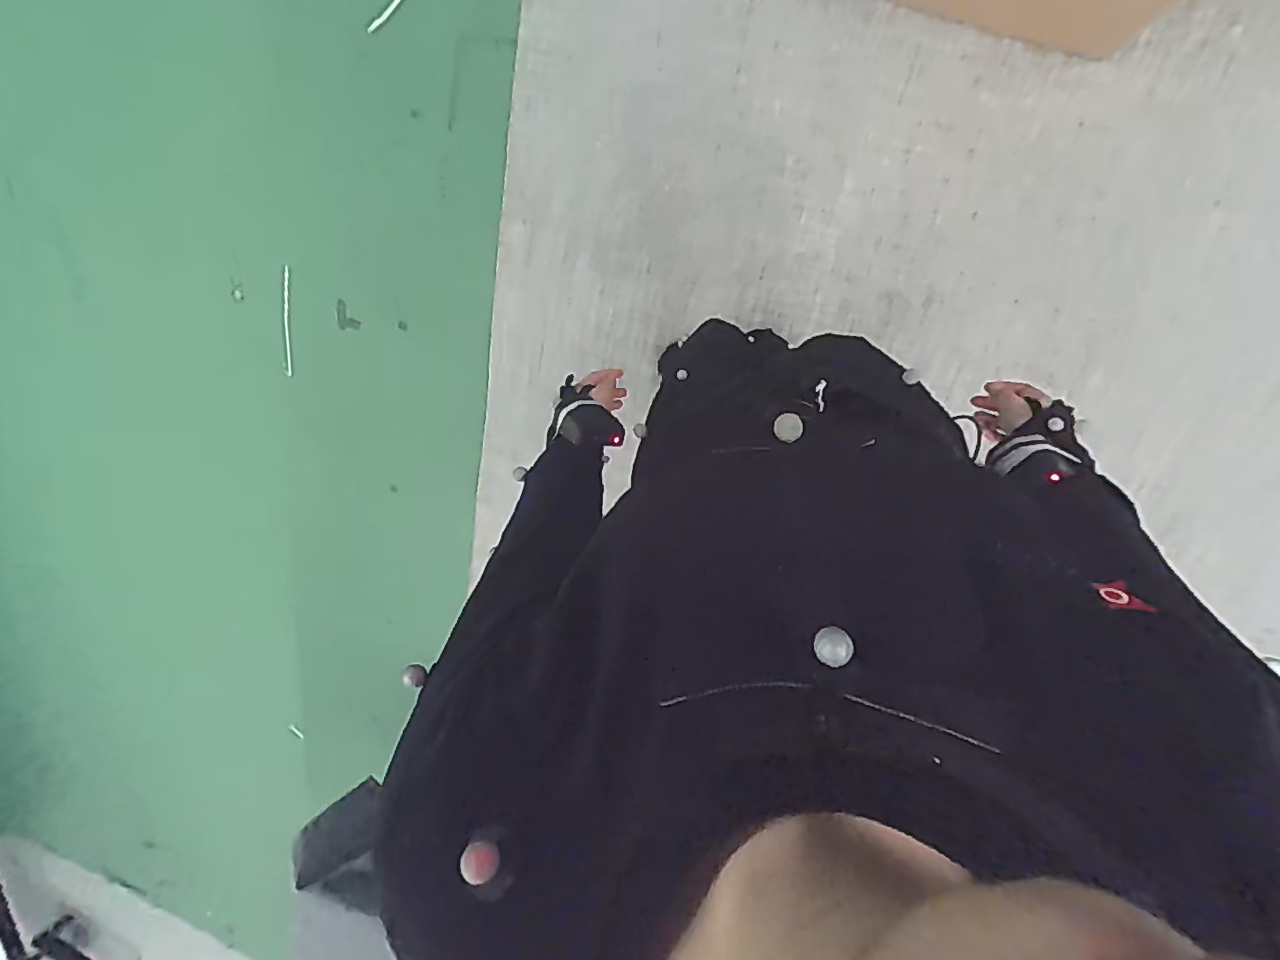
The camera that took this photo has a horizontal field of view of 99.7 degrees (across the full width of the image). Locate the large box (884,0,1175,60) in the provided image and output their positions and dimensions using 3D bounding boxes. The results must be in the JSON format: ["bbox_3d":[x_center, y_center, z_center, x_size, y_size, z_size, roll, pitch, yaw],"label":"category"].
[{"bbox_3d":[0.649,-0.912,0.810,0.408,0.320,0.320,21,112,7],"label":"large box"}]
